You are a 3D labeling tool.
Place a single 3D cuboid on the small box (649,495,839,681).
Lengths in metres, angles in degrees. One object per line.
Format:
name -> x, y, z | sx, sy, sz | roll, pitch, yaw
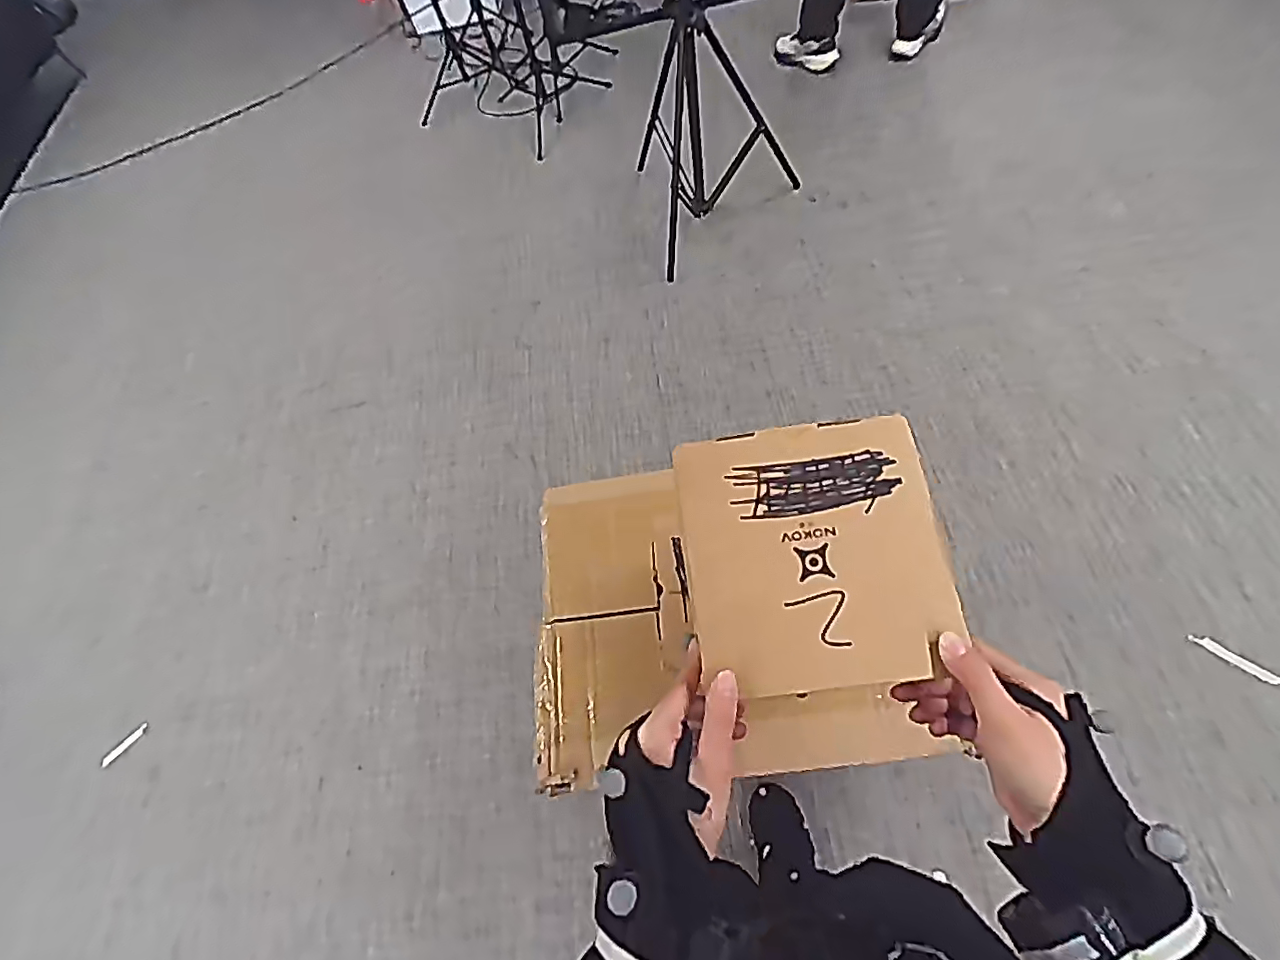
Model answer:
small box -> 0.113, 0.134, 0.624 | 0.179, 0.176, 0.168 | -7, 64, 6
